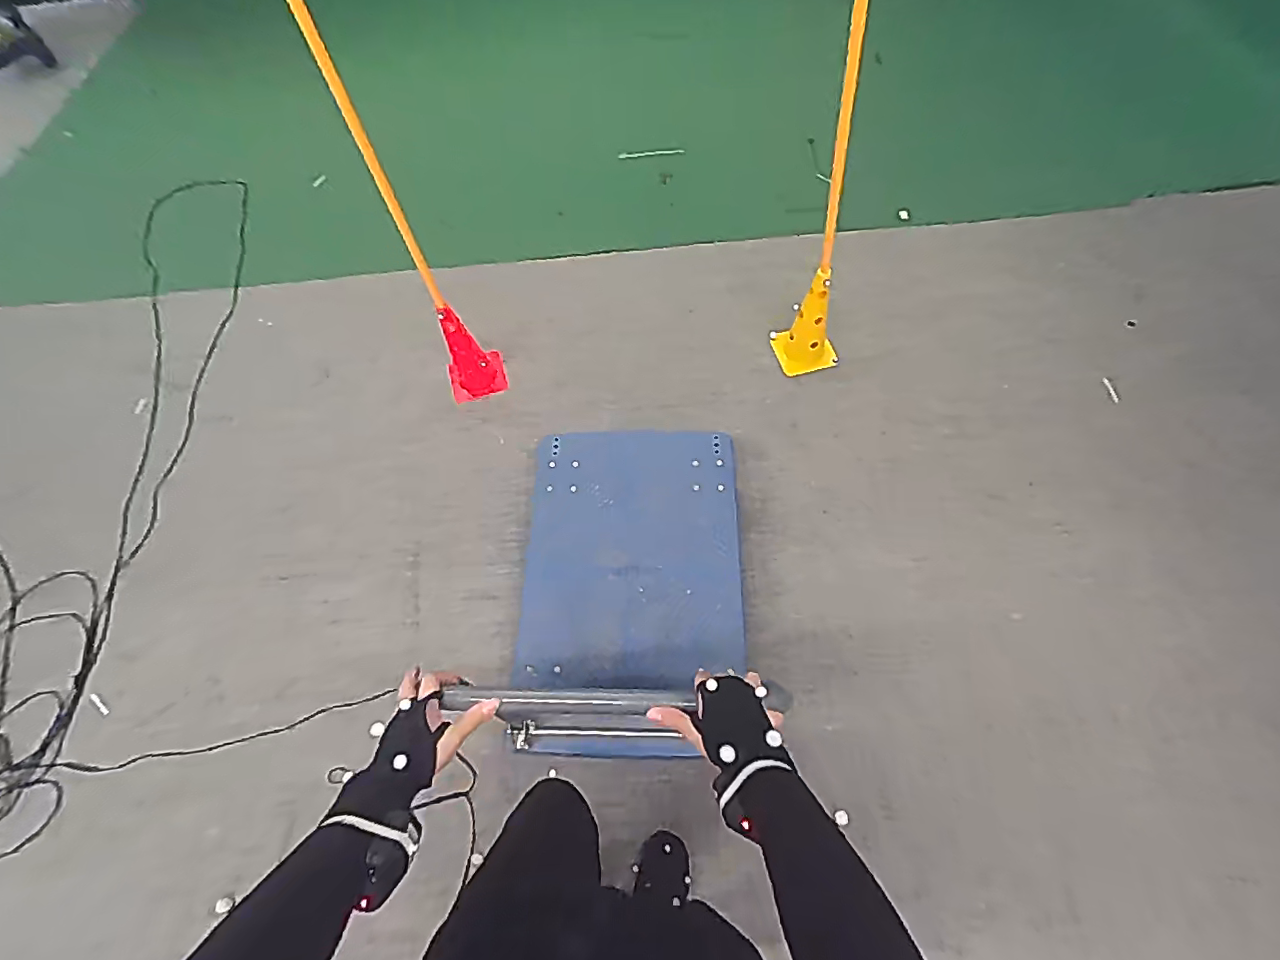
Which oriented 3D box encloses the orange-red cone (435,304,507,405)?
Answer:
[{"bbox_3d":[-0.608,-0.451,1.836,0.199,0.360,0.198,-18,62,-3],"label":"orange-red cone"}]
